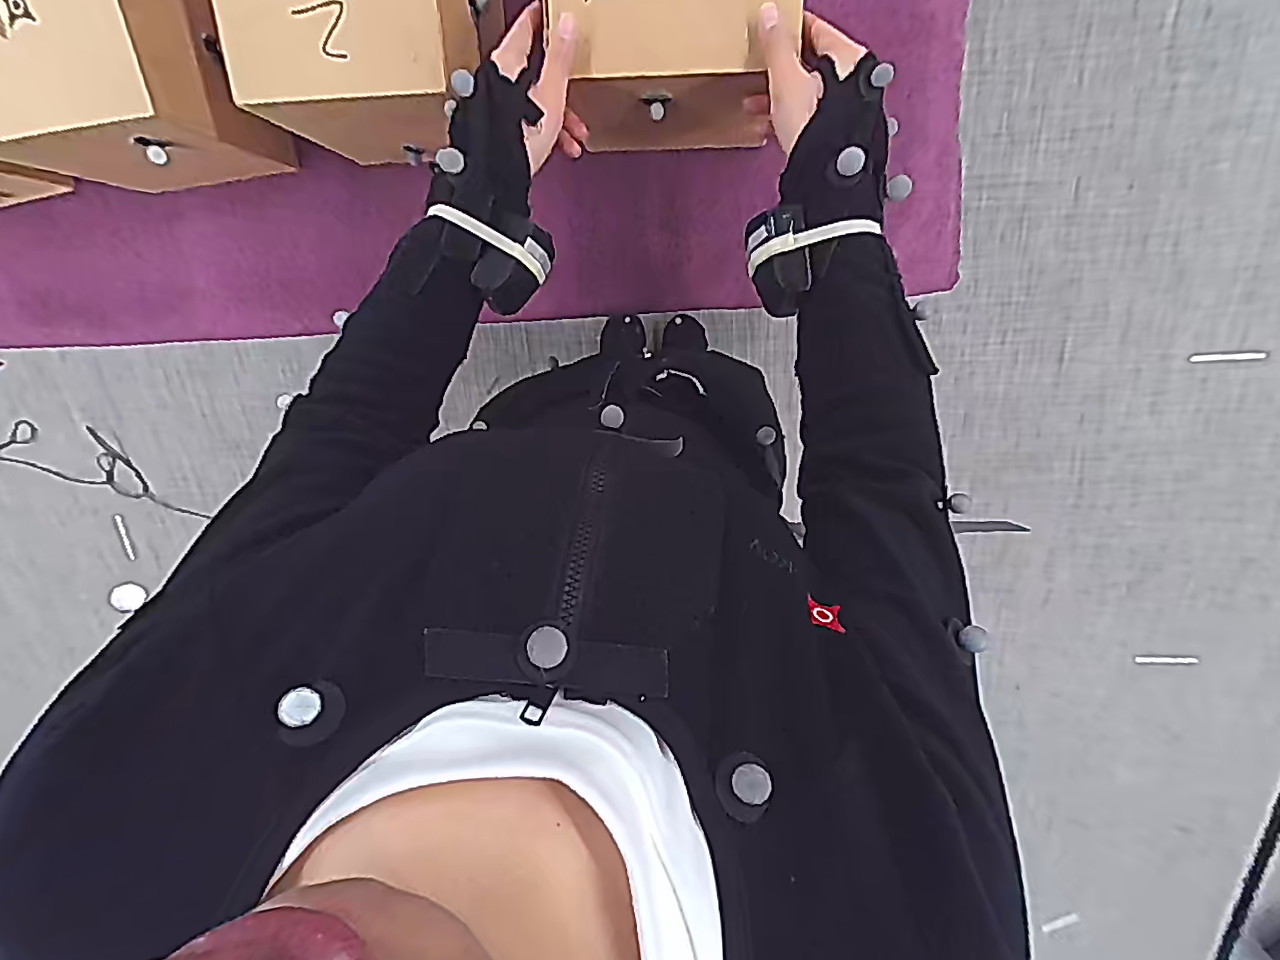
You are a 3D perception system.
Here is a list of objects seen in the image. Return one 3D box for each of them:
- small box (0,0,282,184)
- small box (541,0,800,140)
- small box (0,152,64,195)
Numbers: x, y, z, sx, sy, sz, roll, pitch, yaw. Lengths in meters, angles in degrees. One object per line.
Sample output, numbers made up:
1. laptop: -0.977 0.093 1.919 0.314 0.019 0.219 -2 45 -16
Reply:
1. small box: -0.452 -0.373 0.468 0.179 0.176 0.168 -5 106 6
2. small box: 0.025 -0.385 0.425 0.179 0.176 0.168 2 107 3
3. small box: -0.707 -0.363 0.492 0.168 0.176 0.179 -8 106 7
